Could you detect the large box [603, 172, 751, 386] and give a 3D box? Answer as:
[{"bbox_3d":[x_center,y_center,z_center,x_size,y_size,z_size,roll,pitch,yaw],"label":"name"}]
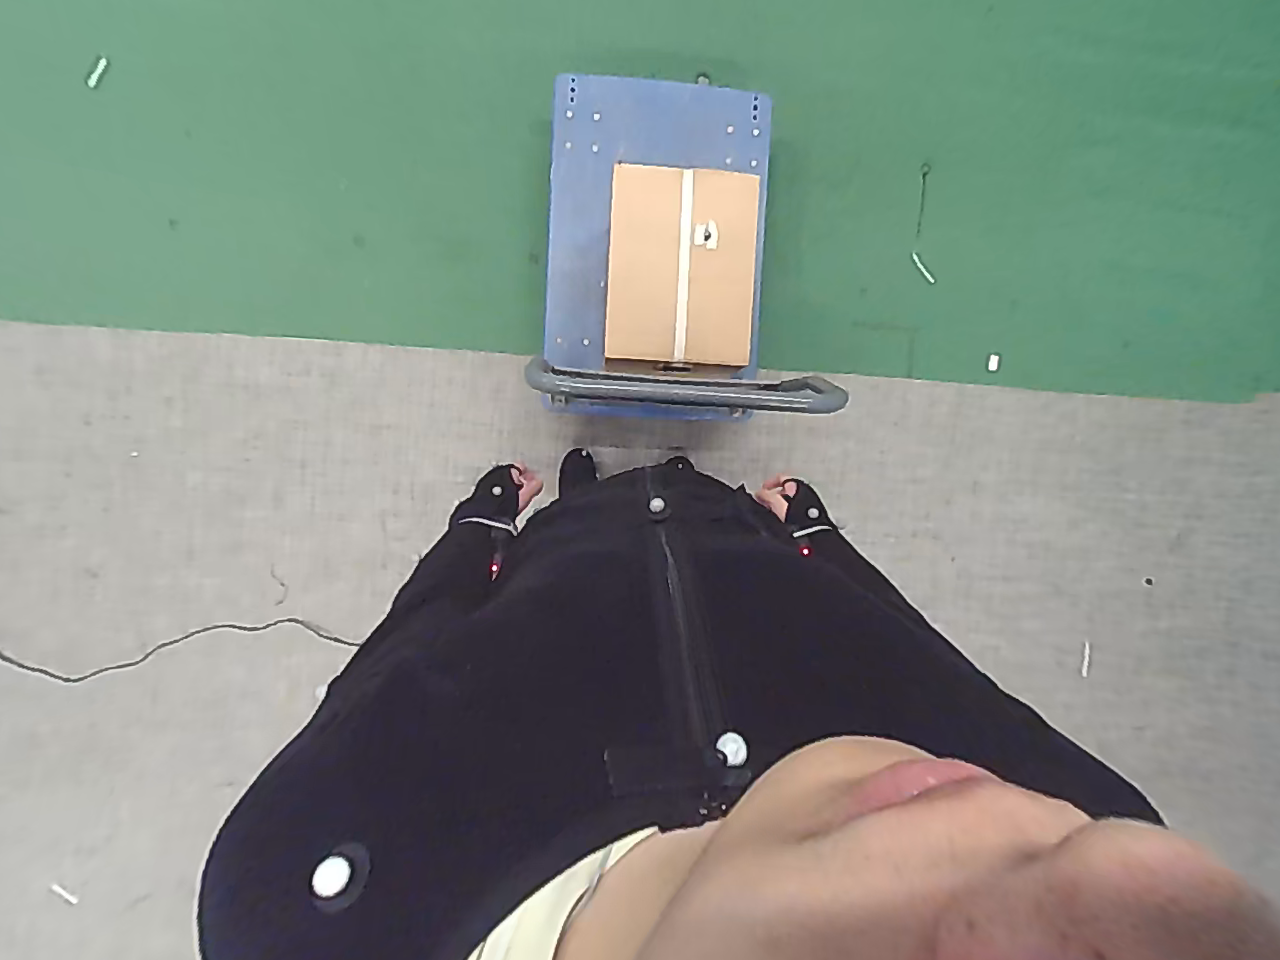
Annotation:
[{"bbox_3d":[0.071,-0.447,1.295,0.320,0.320,0.408,2,91,-5],"label":"large box"}]
